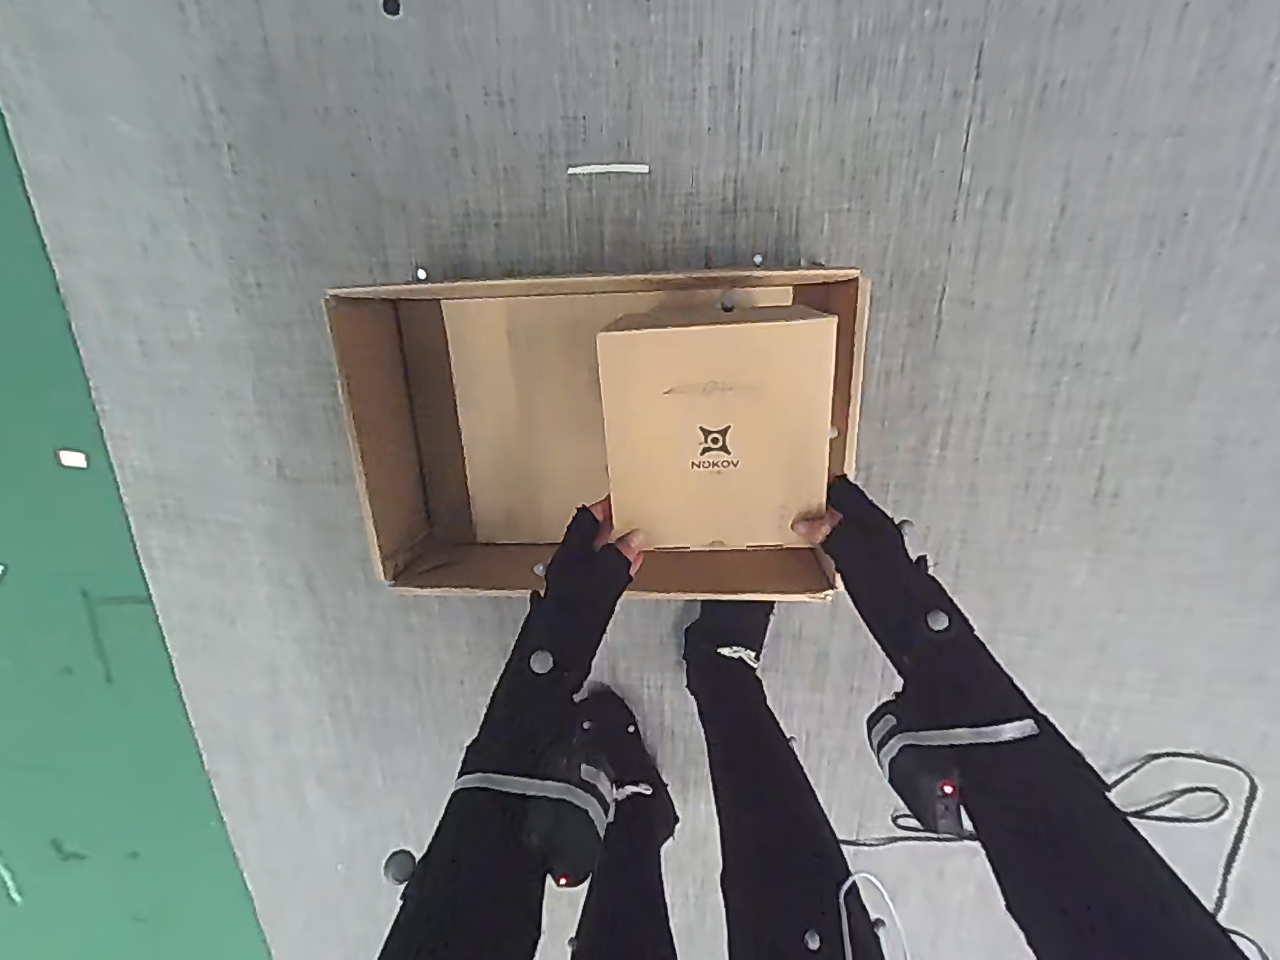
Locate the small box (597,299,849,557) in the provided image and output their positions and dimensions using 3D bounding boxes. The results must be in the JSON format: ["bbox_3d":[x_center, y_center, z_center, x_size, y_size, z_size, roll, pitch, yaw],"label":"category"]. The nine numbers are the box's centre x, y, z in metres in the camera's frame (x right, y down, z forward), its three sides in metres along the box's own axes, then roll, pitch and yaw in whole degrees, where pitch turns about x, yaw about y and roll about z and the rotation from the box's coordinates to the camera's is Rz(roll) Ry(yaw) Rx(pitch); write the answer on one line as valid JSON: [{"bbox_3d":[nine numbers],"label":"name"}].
[{"bbox_3d":[0.065,-0.051,0.455,0.168,0.176,0.179,-2,111,7],"label":"small box"}]
